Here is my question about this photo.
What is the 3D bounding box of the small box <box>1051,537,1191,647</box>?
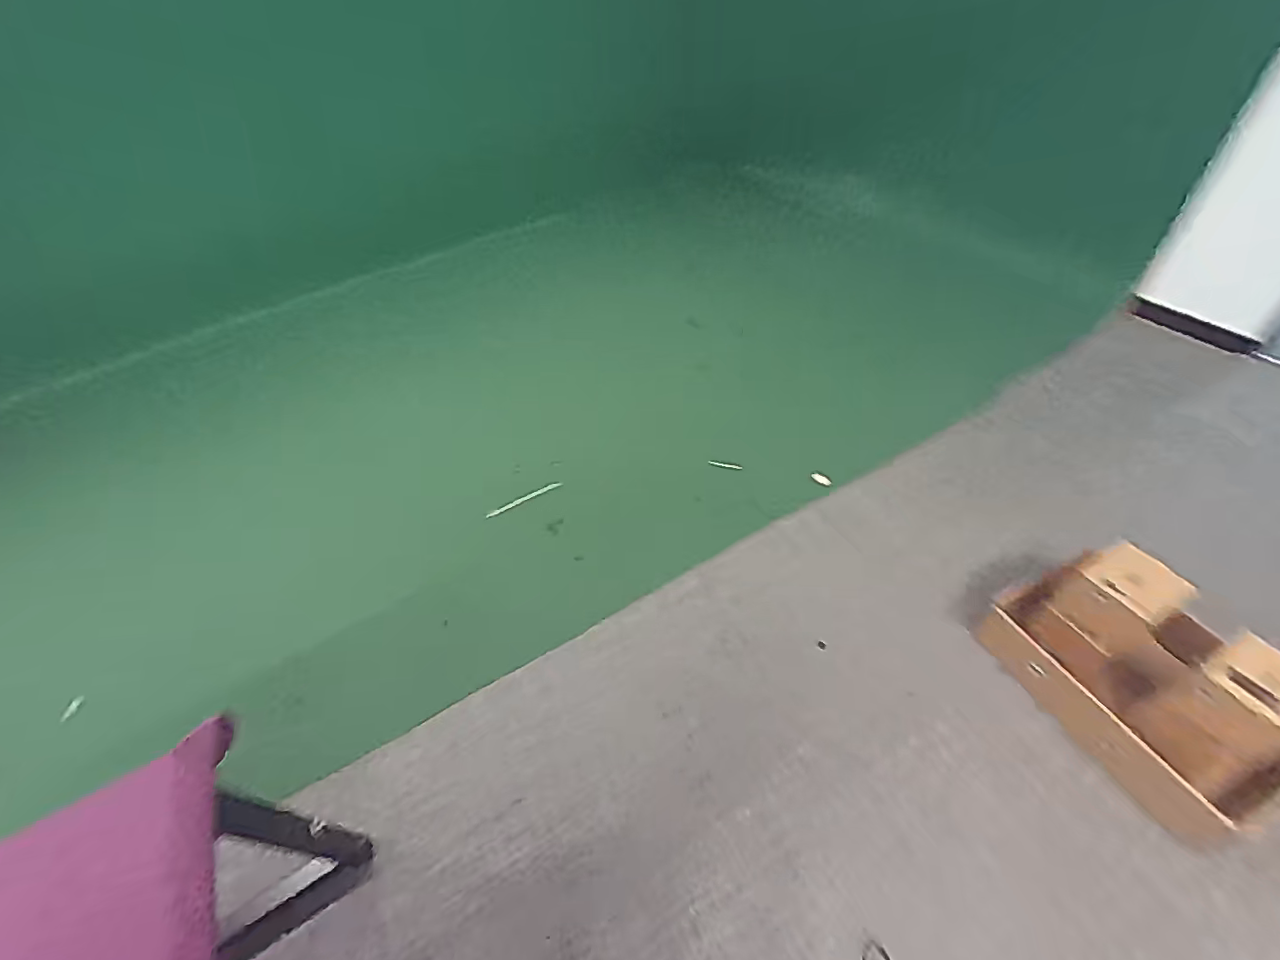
[{"bbox_3d":[1.177,0.278,1.340,0.179,0.176,0.168,-25,49,-15],"label":"small box"}]
